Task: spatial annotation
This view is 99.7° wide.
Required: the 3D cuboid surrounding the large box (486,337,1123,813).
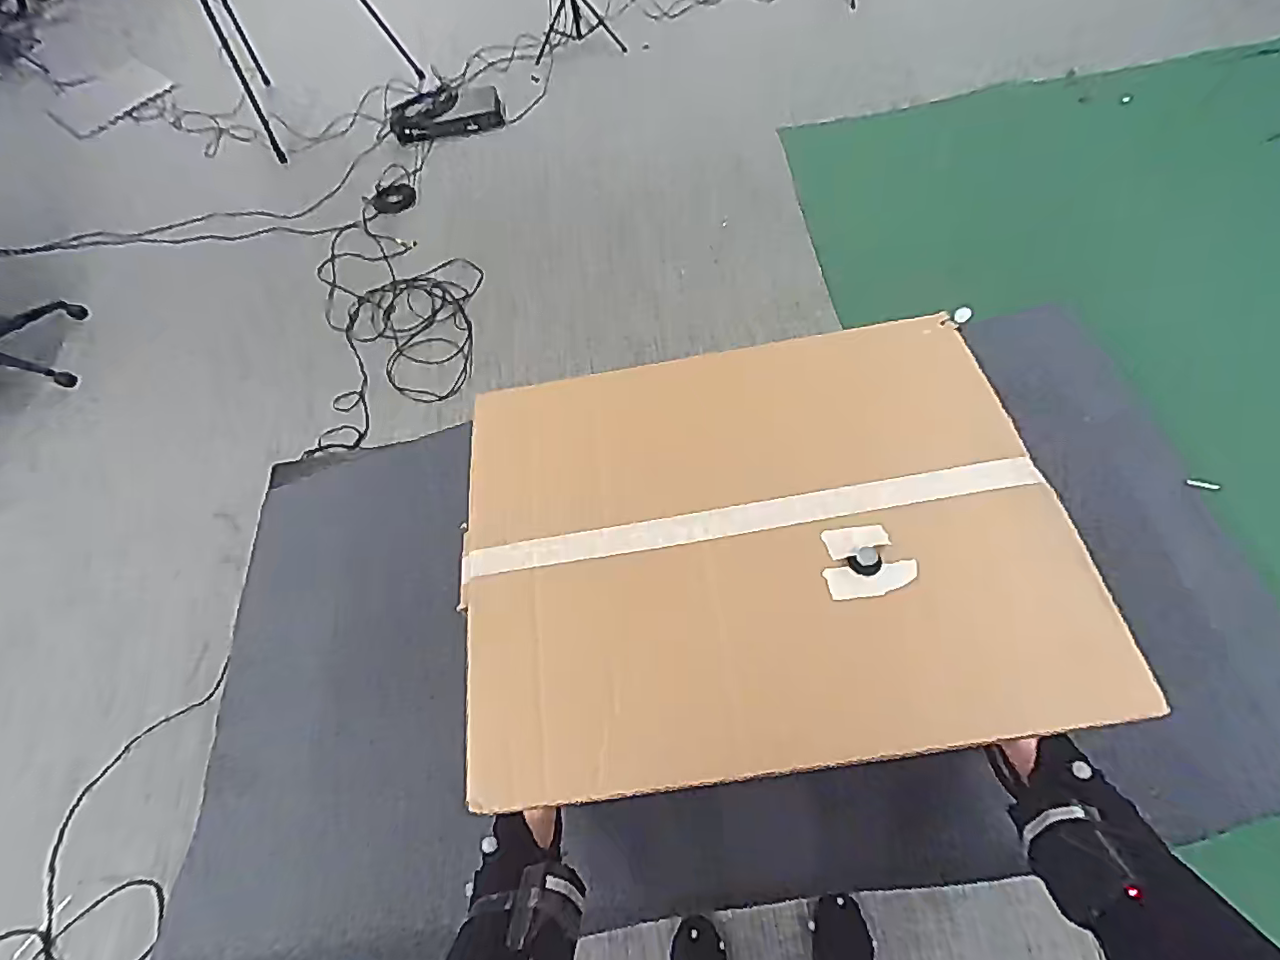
[{"bbox_3d":[0.094,0.111,0.532,0.408,0.320,0.320,-10,61,2],"label":"large box"}]
